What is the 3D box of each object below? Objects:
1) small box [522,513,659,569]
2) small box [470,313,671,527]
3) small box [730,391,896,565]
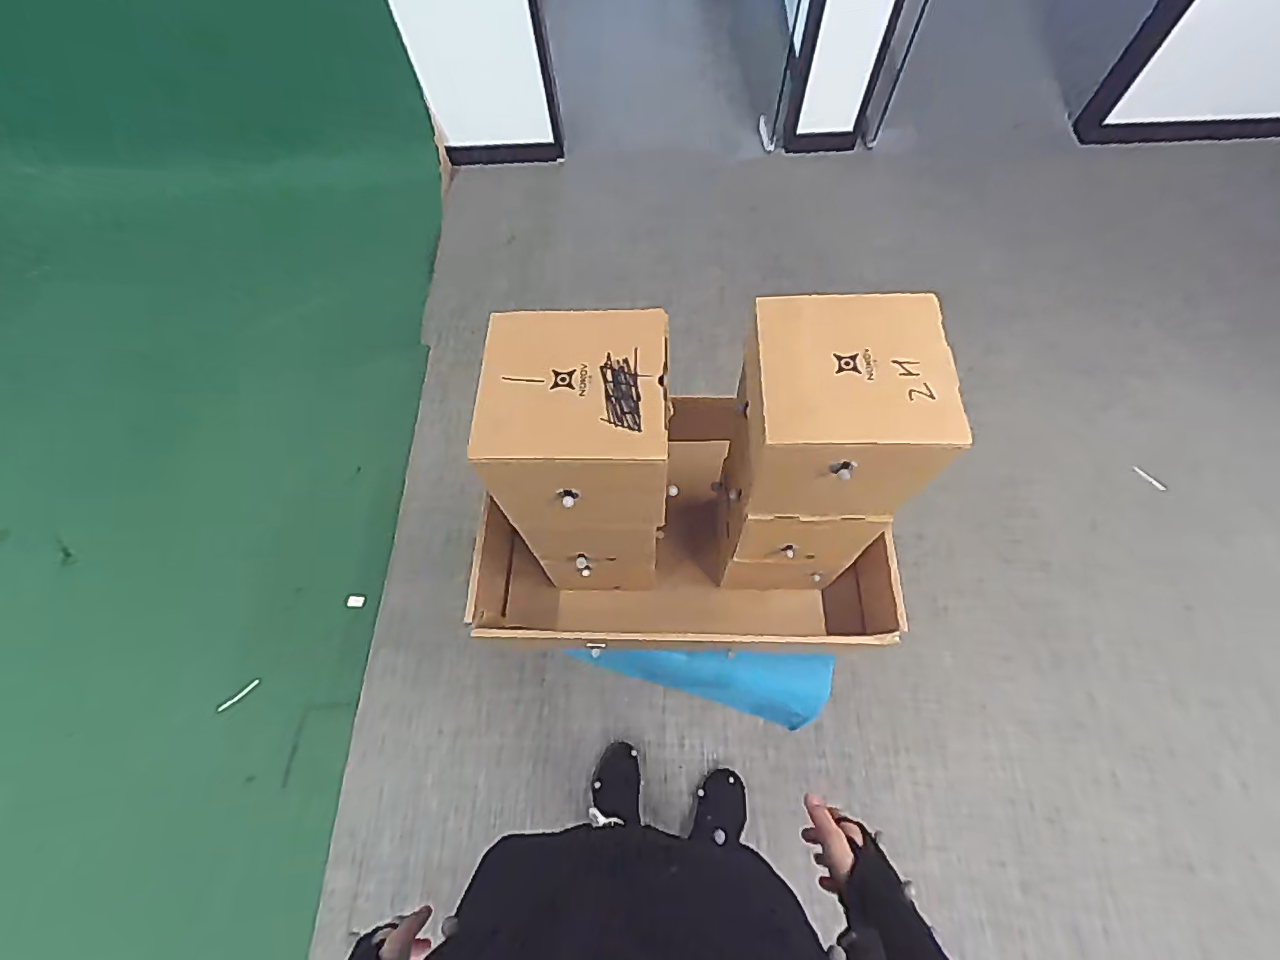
[{"bbox_3d":[-0.056,0.009,0.722,0.168,0.176,0.179,1,66,2],"label":"small box"},{"bbox_3d":[-0.057,-0.055,0.571,0.179,0.176,0.168,0,65,3],"label":"small box"},{"bbox_3d":[0.211,0.001,0.714,0.168,0.176,0.179,1,65,4],"label":"small box"}]
